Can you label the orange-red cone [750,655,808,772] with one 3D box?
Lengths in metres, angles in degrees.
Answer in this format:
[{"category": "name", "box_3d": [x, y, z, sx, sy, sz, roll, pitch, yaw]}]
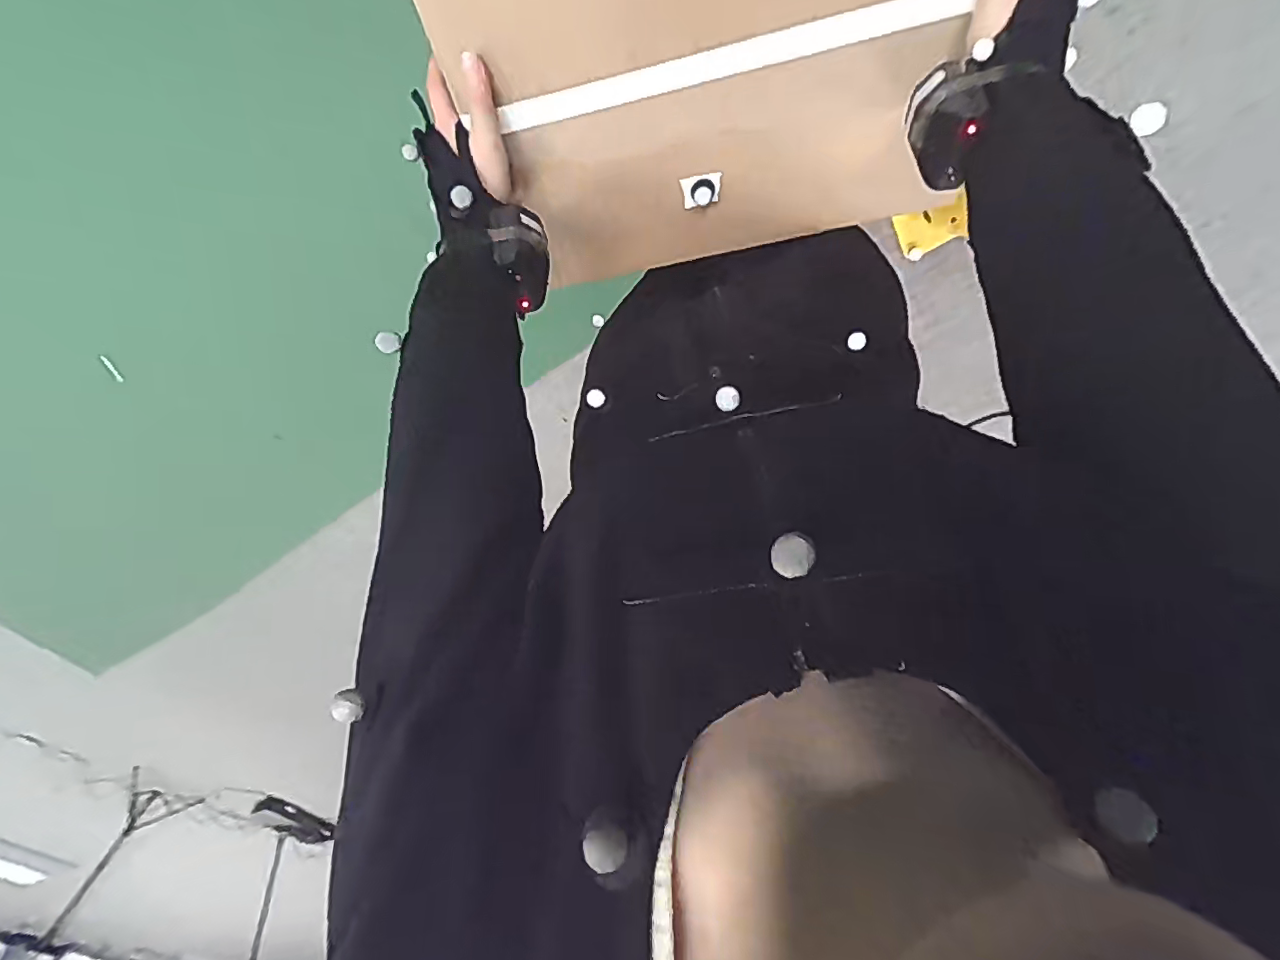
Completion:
[{"category": "orange-red cone", "box_3d": [0.492, 0.808, 1.845, 0.199, 0.360, 0.198, -9, 123, 15]}]
